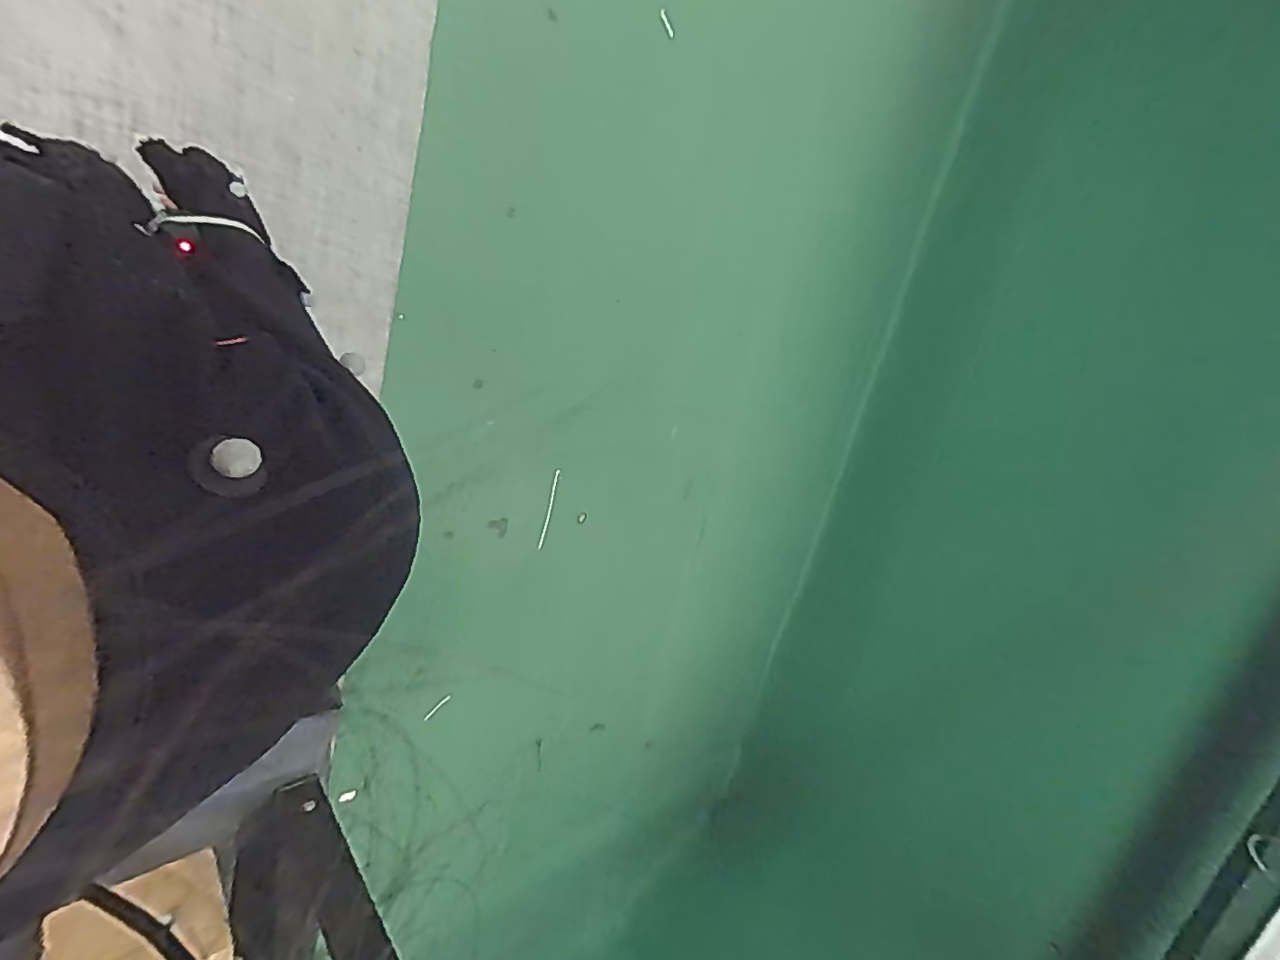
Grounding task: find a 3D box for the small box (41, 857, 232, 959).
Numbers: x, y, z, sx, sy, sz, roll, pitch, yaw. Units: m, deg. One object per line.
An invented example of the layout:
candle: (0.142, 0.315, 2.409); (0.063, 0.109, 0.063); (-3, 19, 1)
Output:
small box: (-0.650, 0.637, 0.699); (0.168, 0.176, 0.179); (-3, 113, -46)
